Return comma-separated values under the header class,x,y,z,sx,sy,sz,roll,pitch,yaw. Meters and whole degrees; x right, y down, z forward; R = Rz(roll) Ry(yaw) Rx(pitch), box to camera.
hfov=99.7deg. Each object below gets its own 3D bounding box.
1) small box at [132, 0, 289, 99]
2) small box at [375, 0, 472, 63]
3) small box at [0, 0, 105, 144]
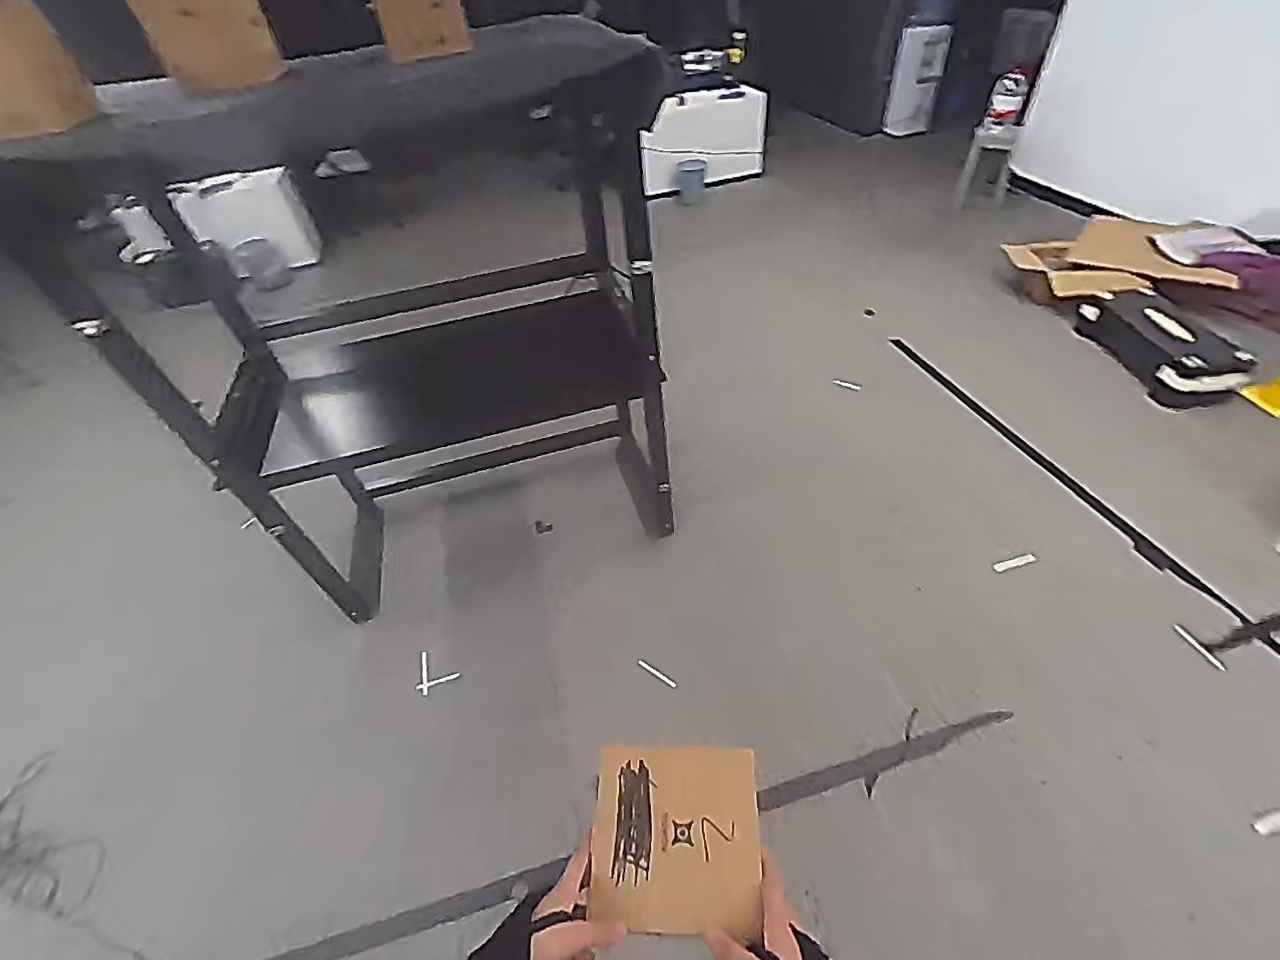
class,x,y,z,sx,sy,sz,roll,pitch,yaw
small box,-0.844,-0.890,1.082,0.179,0.176,0.168,-14,47,-6
small box,-0.459,-0.993,1.131,0.168,0.176,0.179,-16,47,-9
small box,-1.046,-0.665,0.884,0.168,0.176,0.179,-17,46,-9
